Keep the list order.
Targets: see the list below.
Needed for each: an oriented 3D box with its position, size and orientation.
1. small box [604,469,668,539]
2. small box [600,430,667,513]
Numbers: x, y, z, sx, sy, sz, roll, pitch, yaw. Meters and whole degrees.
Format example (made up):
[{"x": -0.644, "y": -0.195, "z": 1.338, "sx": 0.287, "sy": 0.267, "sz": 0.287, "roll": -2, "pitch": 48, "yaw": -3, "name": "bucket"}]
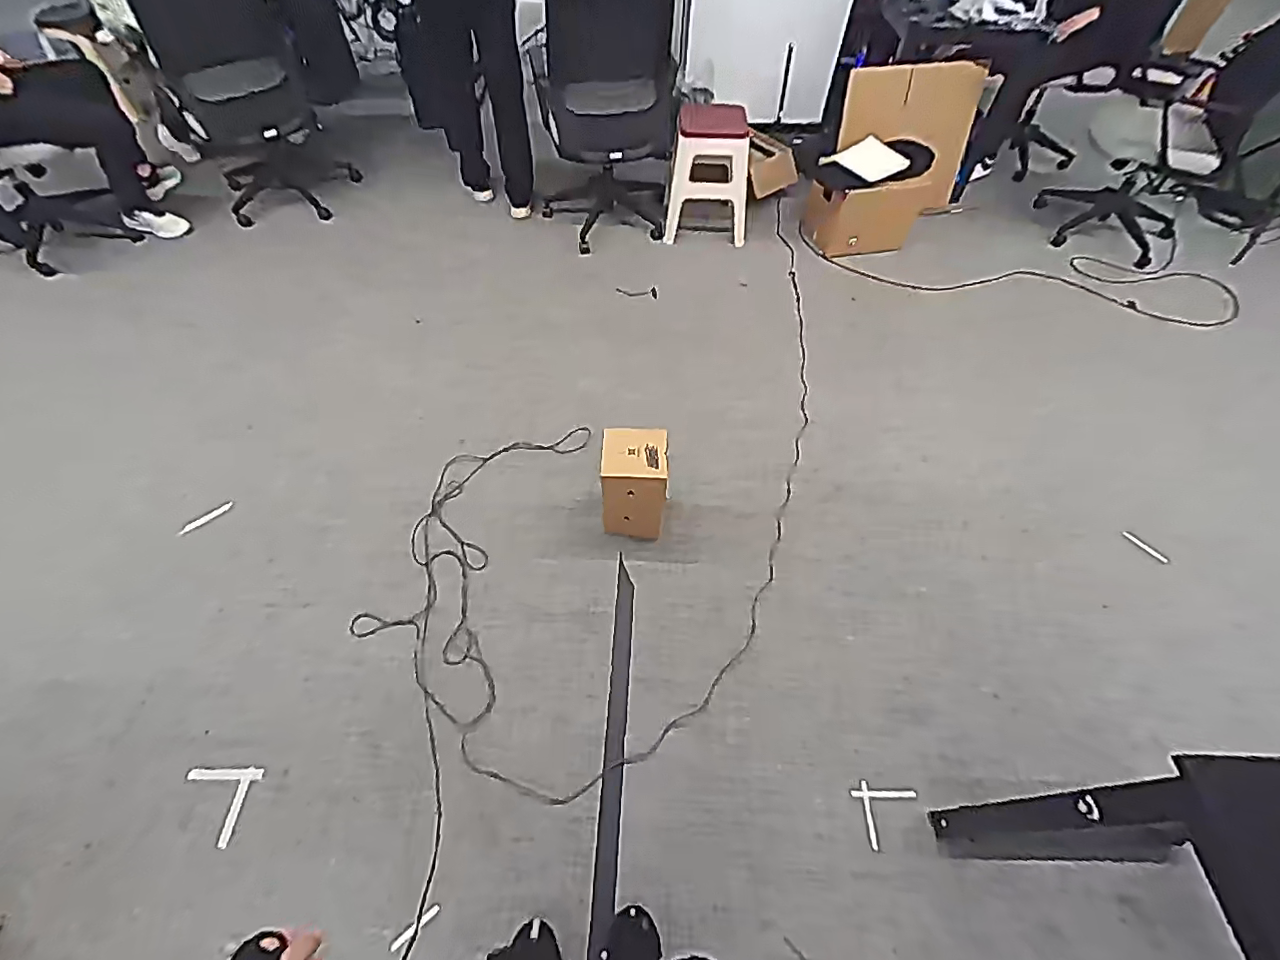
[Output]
[{"x": -0.014, "y": 0.066, "z": 1.648, "sx": 0.179, "sy": 0.176, "sz": 0.168, "roll": 7, "pitch": 55, "yaw": 4, "name": "small box"}, {"x": -0.016, "y": -0.020, "z": 1.506, "sx": 0.179, "sy": 0.176, "sz": 0.168, "roll": 2, "pitch": 54, "yaw": 0, "name": "small box"}]
